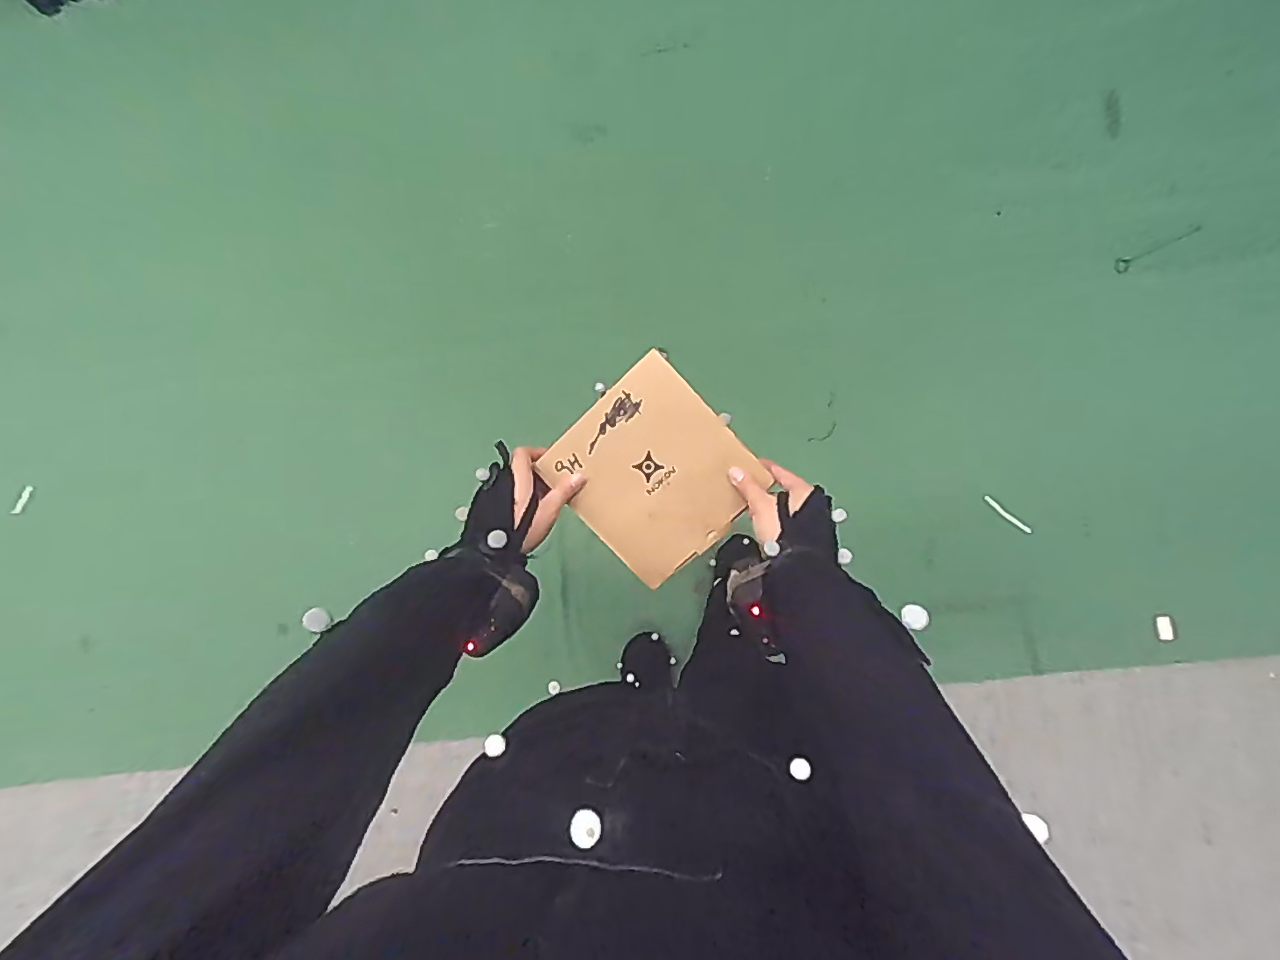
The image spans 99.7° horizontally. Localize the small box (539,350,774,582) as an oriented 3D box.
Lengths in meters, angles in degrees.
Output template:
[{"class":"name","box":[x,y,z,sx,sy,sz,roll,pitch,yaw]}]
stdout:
[{"class":"small box","box":[0.019,-0.024,0.607,0.168,0.176,0.179,-43,95,7]}]
